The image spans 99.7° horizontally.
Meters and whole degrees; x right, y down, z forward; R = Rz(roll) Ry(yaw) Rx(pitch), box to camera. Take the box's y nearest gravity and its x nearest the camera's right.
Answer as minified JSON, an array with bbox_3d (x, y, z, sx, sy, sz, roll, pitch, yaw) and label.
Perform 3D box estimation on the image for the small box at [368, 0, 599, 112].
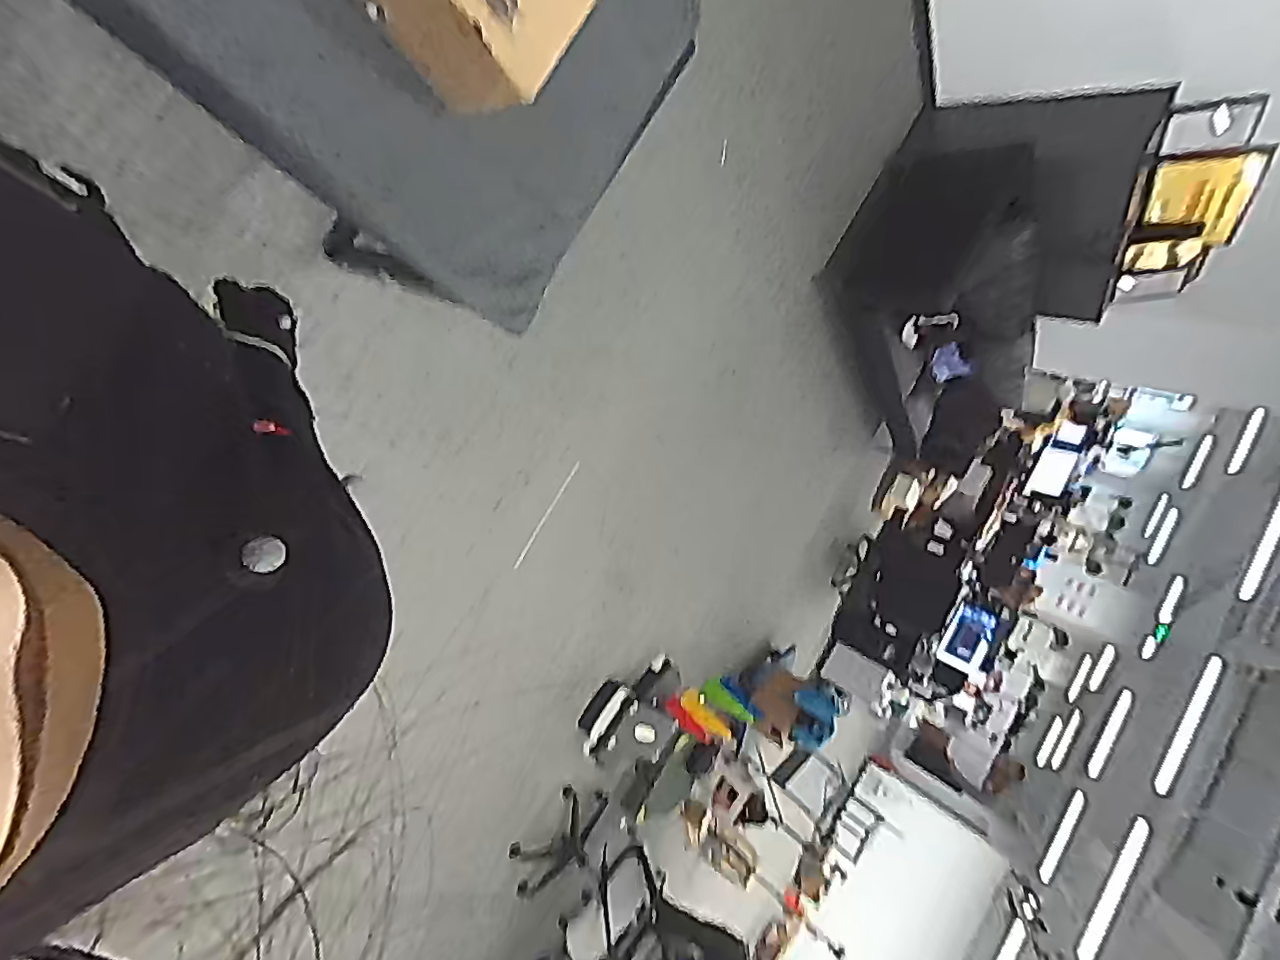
[{"bbox_3d":[-0.180,-0.551,0.604,0.168,0.176,0.179,37,80,-52],"label":"small box"}]
